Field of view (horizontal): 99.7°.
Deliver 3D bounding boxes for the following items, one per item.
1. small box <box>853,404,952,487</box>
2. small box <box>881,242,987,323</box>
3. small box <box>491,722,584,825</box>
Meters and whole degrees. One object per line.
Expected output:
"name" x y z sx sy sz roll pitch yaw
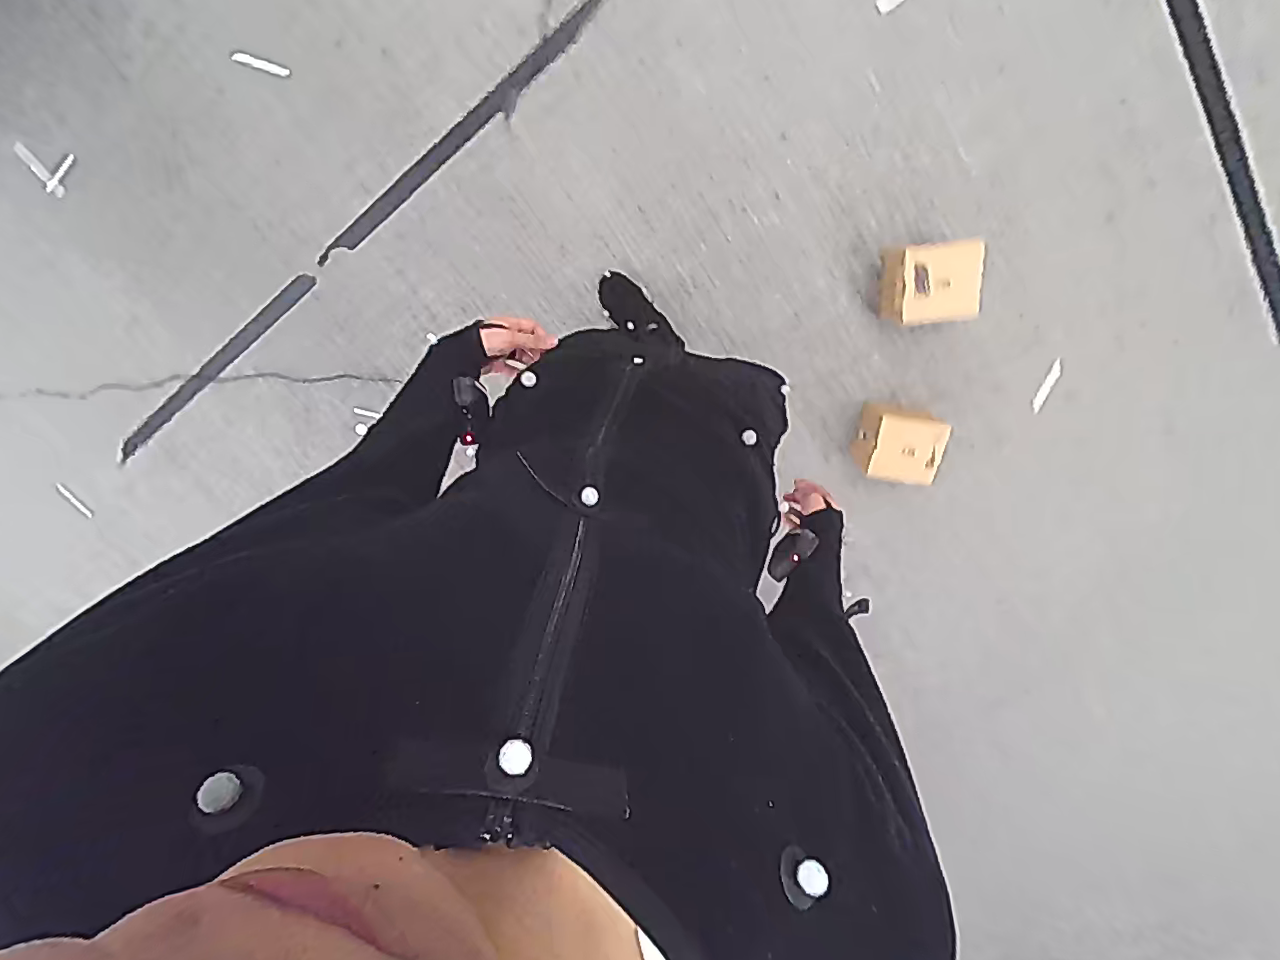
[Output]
"small box" 0.699 -0.101 1.467 0.179 0.176 0.168 11 113 3
"small box" 0.702 -0.478 1.314 0.179 0.176 0.168 -4 112 7
"small box" -0.273 0.800 1.480 0.179 0.176 0.168 -19 110 12
